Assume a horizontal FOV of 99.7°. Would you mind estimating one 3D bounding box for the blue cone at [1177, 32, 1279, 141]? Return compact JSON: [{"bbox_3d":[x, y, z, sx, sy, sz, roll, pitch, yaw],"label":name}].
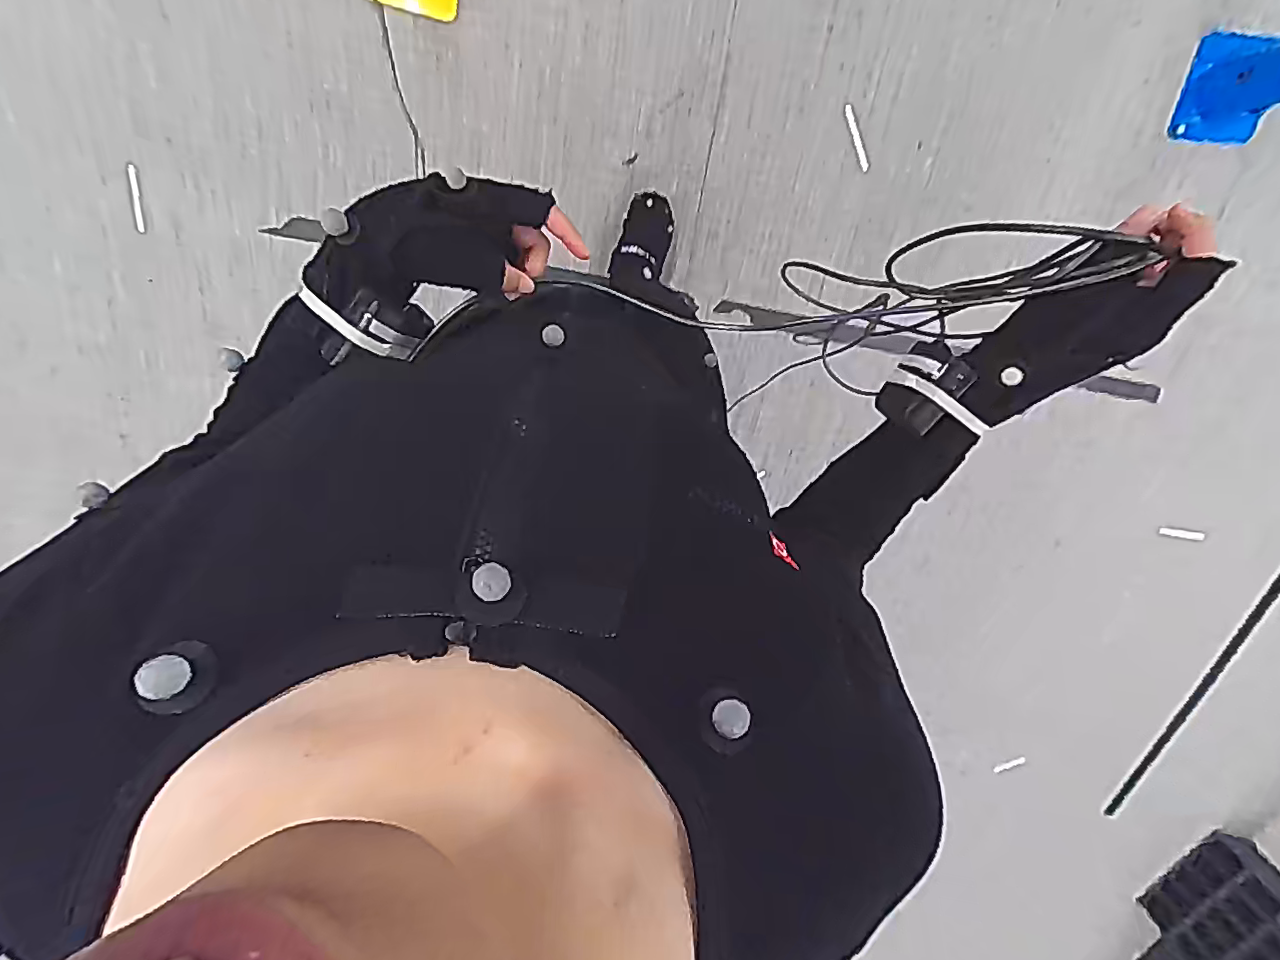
[{"bbox_3d":[1.294,-0.787,1.024,0.193,0.380,0.192,4,113,-3],"label":"blue cone"}]
